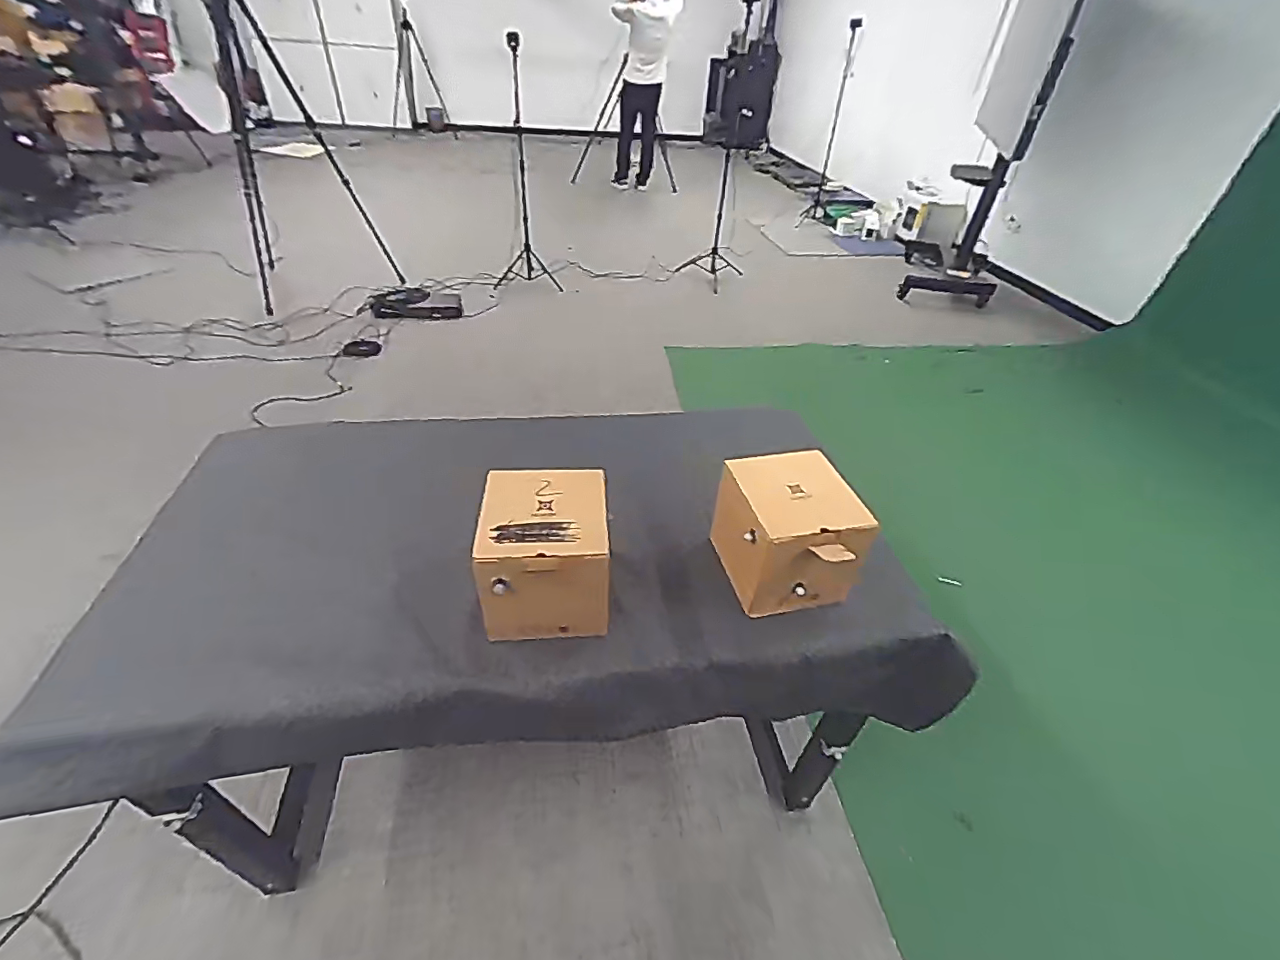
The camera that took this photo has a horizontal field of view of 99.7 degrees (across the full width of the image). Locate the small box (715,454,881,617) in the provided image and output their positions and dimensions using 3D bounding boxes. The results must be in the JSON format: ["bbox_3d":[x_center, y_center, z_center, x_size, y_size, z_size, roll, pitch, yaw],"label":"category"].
[{"bbox_3d":[0.227,0.083,0.834,0.168,0.176,0.179,-7,41,-13],"label":"small box"}]
